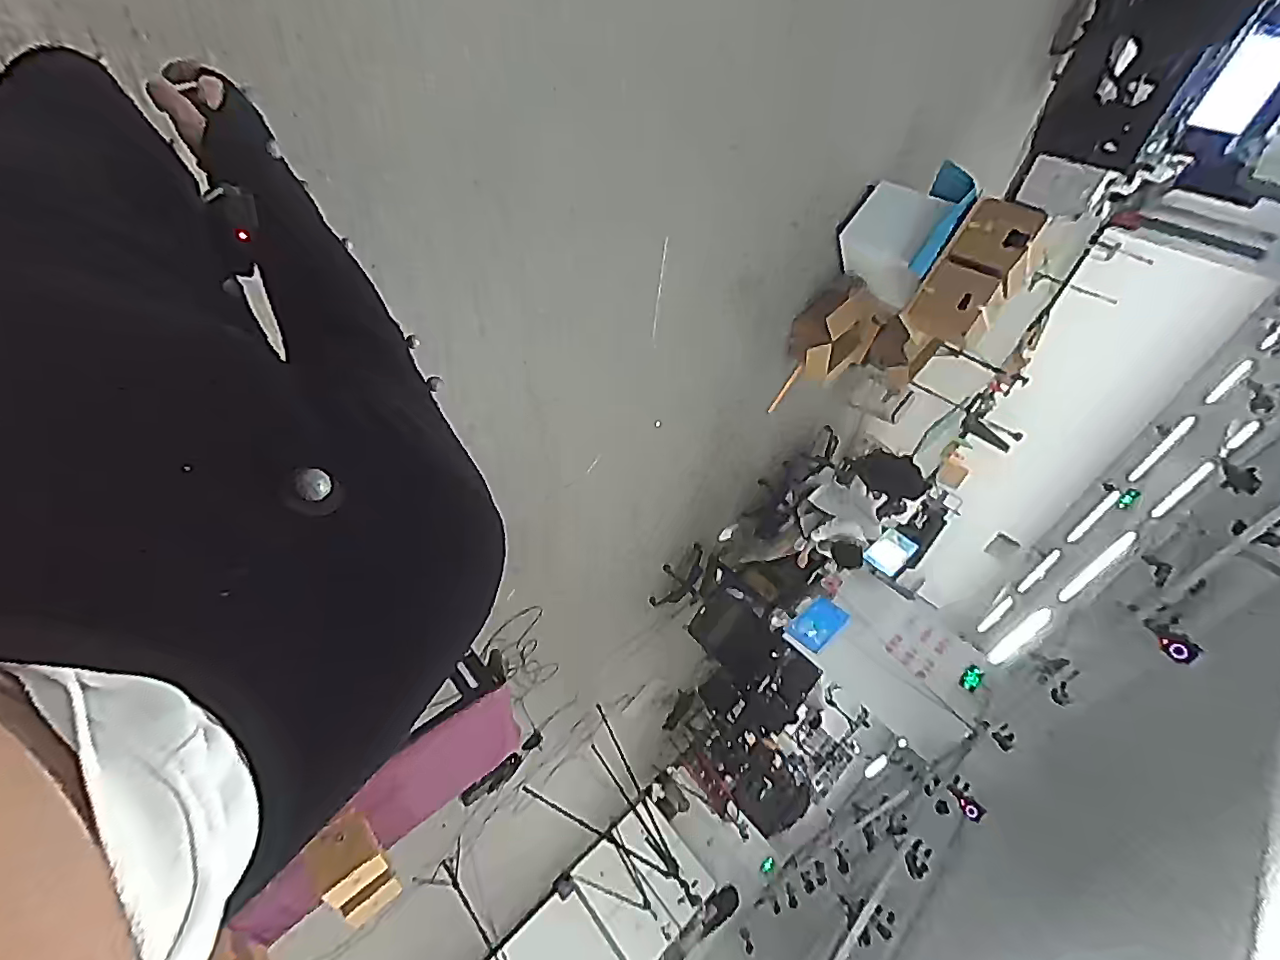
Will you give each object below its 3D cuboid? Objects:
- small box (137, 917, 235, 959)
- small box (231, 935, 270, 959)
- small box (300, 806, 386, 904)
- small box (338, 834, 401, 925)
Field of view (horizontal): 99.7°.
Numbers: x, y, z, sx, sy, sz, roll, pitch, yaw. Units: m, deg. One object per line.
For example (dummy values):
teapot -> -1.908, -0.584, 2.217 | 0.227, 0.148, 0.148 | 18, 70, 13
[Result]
small box -> -1.197, 1.308, 1.429 | 0.168, 0.176, 0.179 | -29, 146, -36
small box -> -1.236, 1.542, 1.646 | 0.168, 0.176, 0.179 | -31, 144, -35
small box -> -0.906, 1.142, 1.655 | 0.168, 0.176, 0.179 | -28, 145, -35
small box -> -0.947, 1.364, 1.854 | 0.168, 0.176, 0.179 | -28, 143, -35
